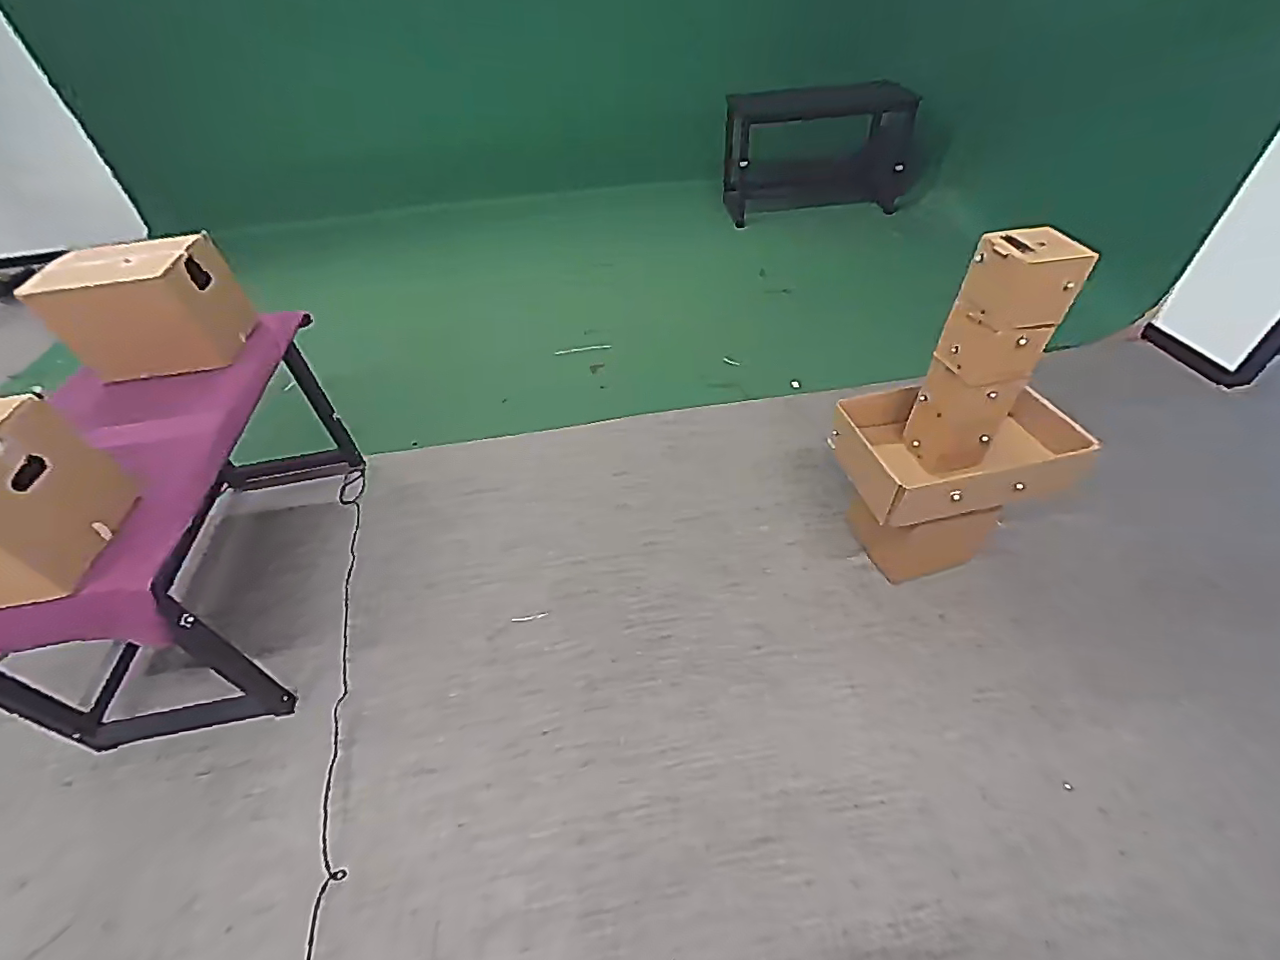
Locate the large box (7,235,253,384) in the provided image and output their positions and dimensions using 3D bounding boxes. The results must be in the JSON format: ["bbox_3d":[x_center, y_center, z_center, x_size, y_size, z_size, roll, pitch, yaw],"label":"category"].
[{"bbox_3d":[-1.553,-0.535,1.698,0.408,0.320,0.320,-8,47,-4],"label":"large box"}]

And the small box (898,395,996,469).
[{"bbox_3d":[0.931,-0.156,1.659,0.179,0.176,0.168,-10,45,-7],"label":"small box"}]

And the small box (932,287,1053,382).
[{"bbox_3d":[0.916,-0.381,1.425,0.179,0.176,0.168,-12,47,-8],"label":"small box"}]

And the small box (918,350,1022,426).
[{"bbox_3d":[0.925,-0.271,1.543,0.179,0.176,0.168,-11,46,-9],"label":"small box"}]
